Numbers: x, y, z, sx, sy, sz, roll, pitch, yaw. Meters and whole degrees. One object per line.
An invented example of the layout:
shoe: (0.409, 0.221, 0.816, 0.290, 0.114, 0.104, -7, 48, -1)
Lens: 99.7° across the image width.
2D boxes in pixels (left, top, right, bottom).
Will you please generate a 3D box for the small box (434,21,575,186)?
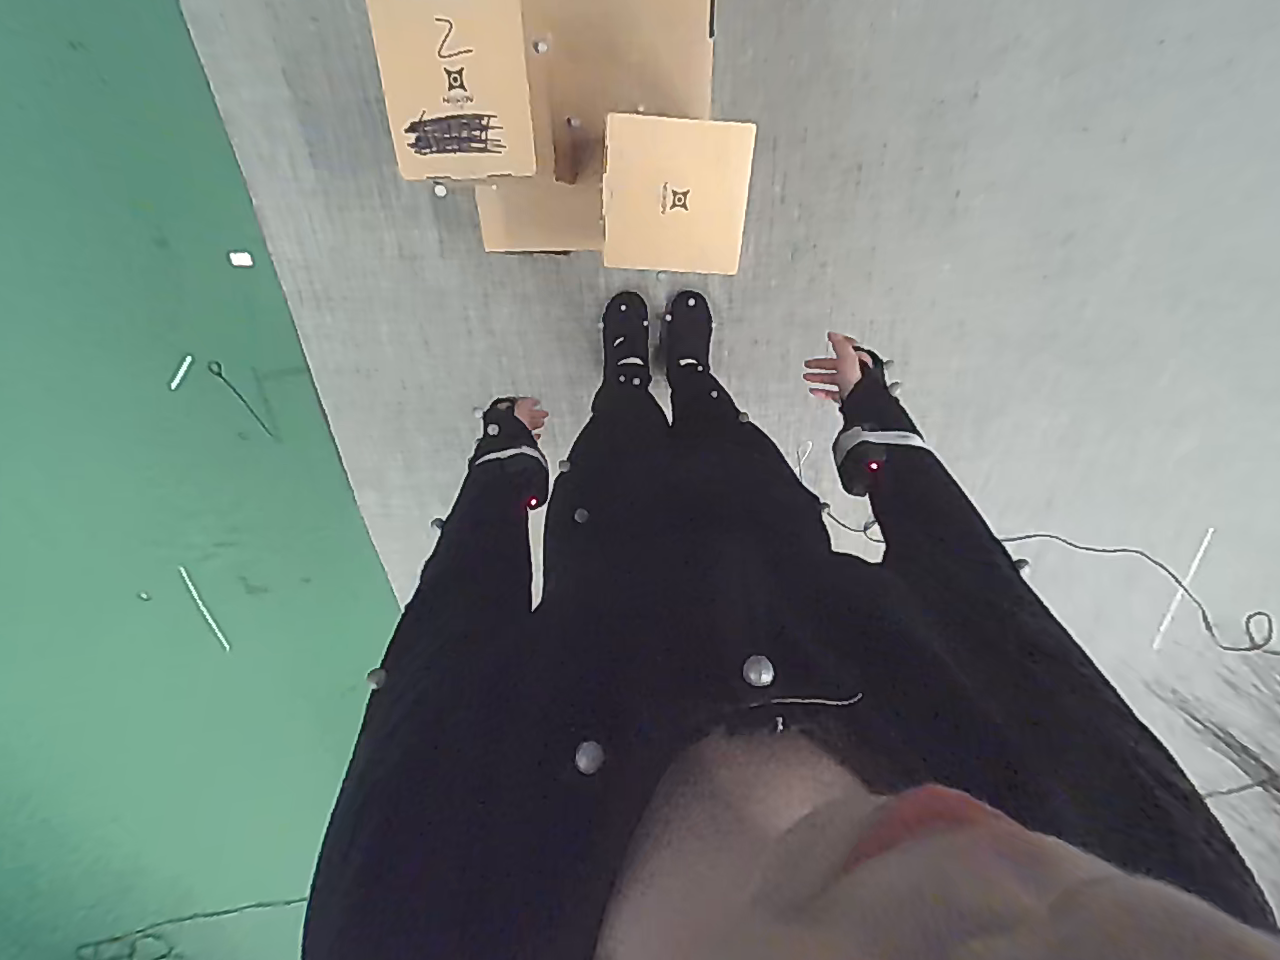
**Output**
small box: (-0.192, -0.551, 0.814, 0.168, 0.176, 0.179, 3, 116, 1)

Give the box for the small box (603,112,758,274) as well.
small box: (0.043, -0.376, 0.717, 0.179, 0.176, 0.168, 3, 117, -1)
